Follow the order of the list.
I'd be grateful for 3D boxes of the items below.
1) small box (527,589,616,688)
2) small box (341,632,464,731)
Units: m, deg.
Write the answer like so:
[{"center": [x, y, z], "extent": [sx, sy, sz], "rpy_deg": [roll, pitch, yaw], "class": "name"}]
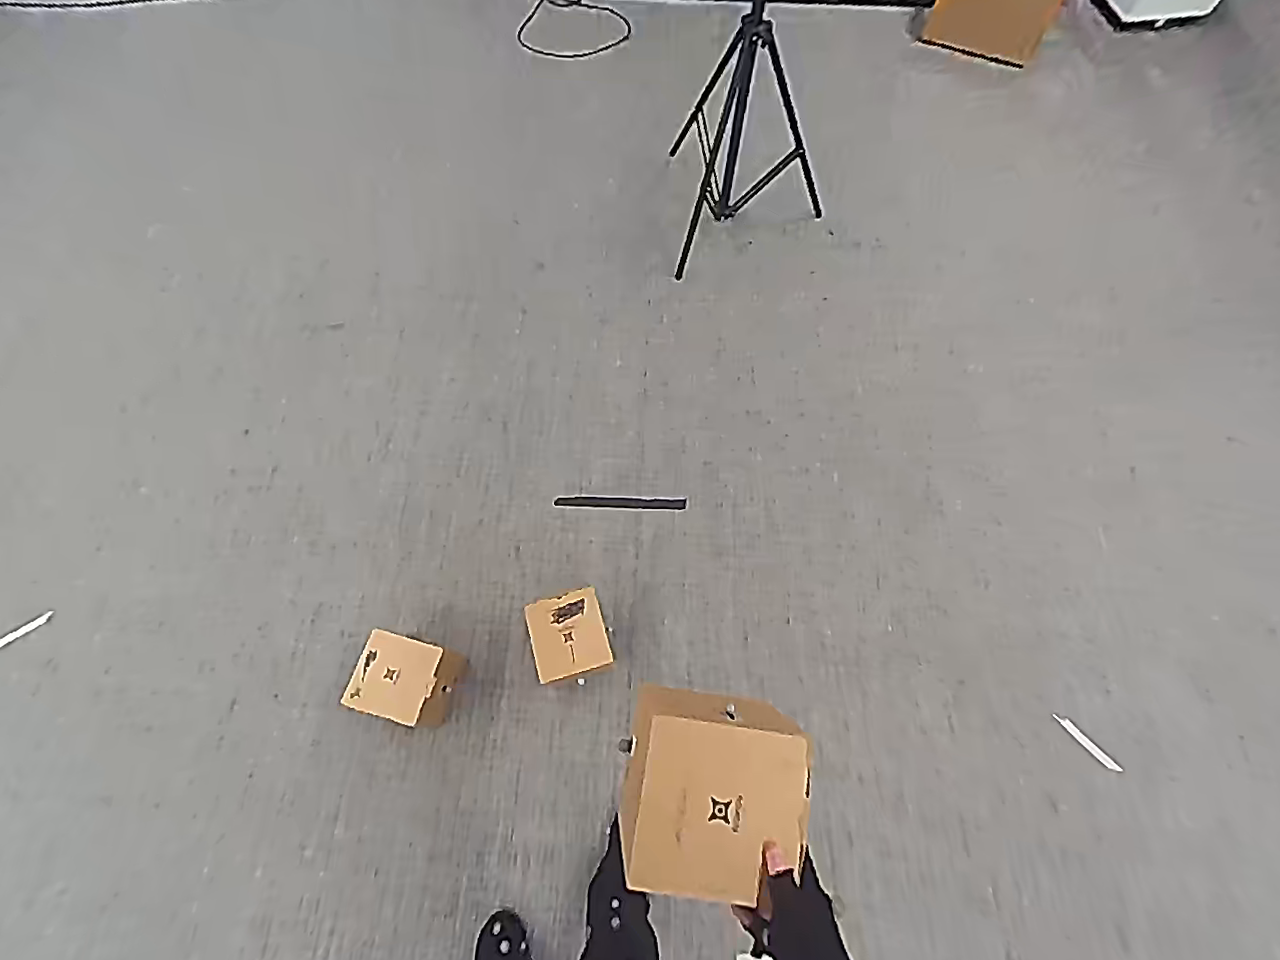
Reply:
[{"center": [-0.157, 0.376, 1.269], "extent": [0.168, 0.176, 0.179], "rpy_deg": [-15, 68, -6], "class": "small box"}, {"center": [-0.527, 0.460, 1.234], "extent": [0.179, 0.176, 0.168], "rpy_deg": [14, 67, 6], "class": "small box"}]
